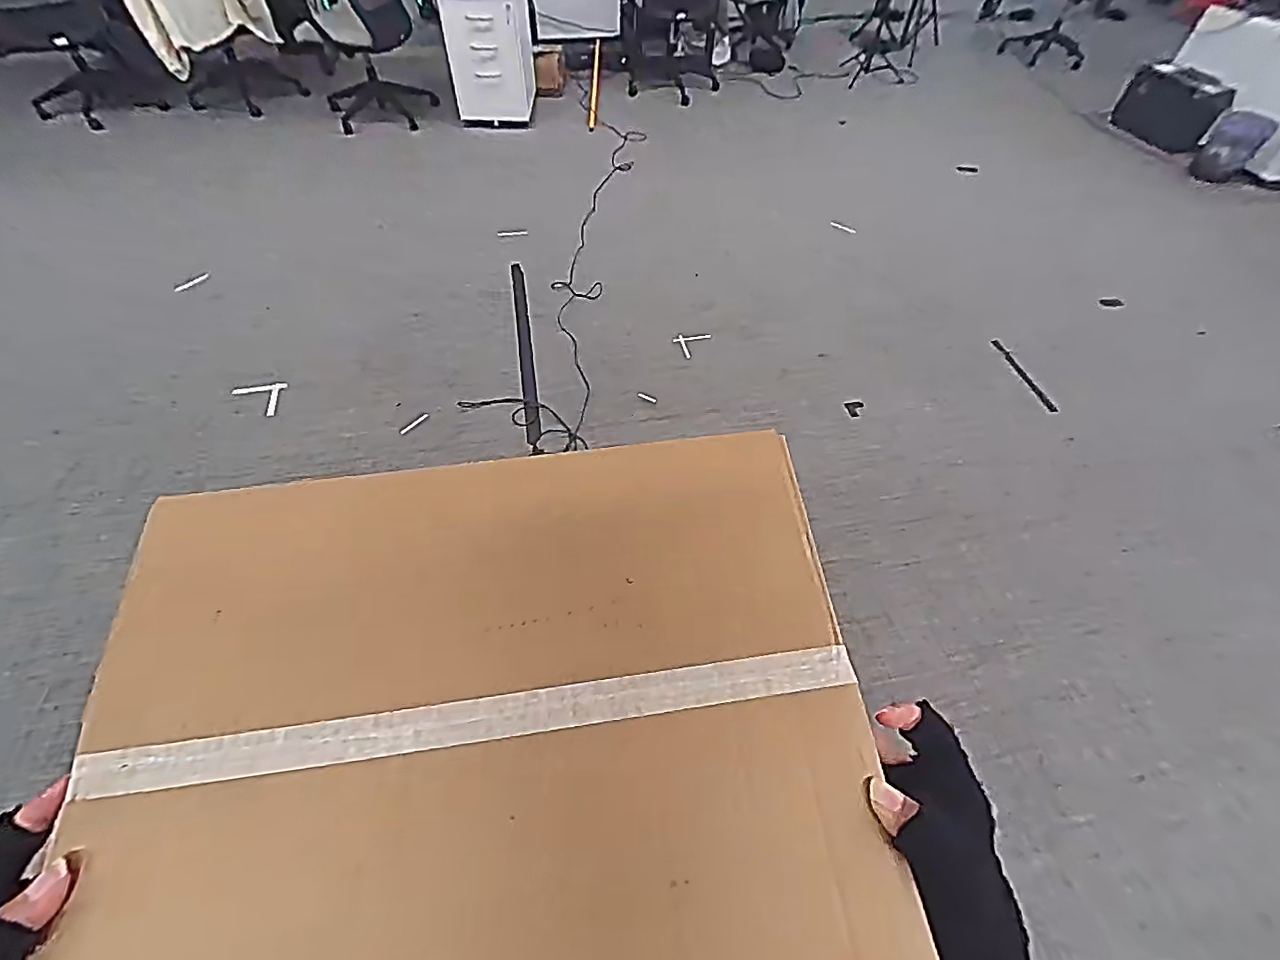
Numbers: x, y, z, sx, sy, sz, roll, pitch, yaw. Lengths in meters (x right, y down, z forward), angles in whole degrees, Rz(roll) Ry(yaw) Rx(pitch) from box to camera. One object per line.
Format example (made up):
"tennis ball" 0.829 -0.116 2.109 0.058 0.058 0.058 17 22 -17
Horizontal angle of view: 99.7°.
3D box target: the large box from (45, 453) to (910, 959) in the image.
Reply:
"large box" -0.087 0.206 0.428 0.408 0.320 0.320 -7 62 -4
